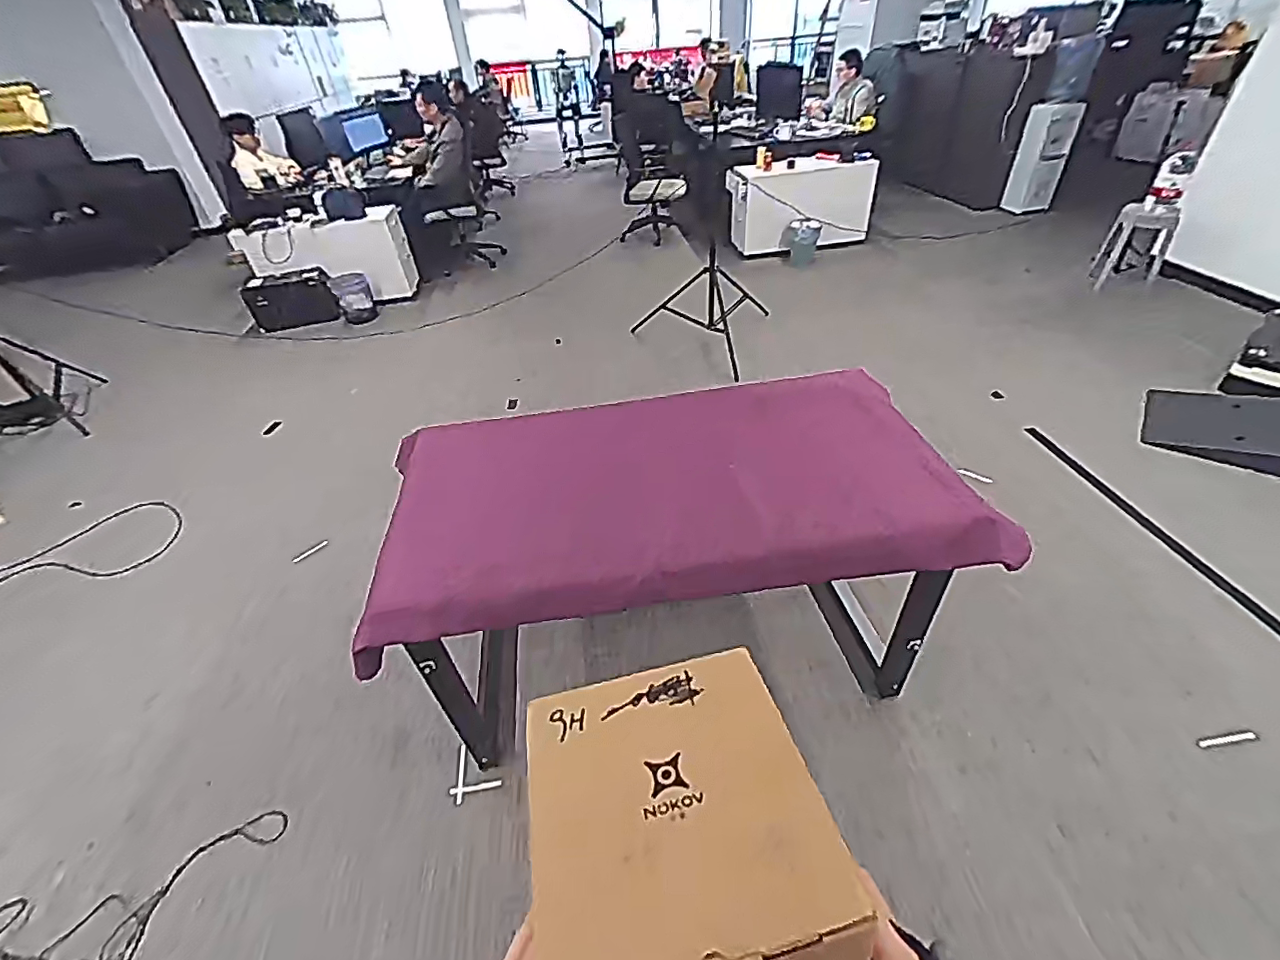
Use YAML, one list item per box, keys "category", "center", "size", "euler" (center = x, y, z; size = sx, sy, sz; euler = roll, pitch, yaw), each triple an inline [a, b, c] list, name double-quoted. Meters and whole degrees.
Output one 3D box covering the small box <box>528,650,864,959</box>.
- category: "small box"
  center: [0.025, 0.252, 0.363]
  size: [0.168, 0.176, 0.179]
  euler: [-11, 31, -7]
